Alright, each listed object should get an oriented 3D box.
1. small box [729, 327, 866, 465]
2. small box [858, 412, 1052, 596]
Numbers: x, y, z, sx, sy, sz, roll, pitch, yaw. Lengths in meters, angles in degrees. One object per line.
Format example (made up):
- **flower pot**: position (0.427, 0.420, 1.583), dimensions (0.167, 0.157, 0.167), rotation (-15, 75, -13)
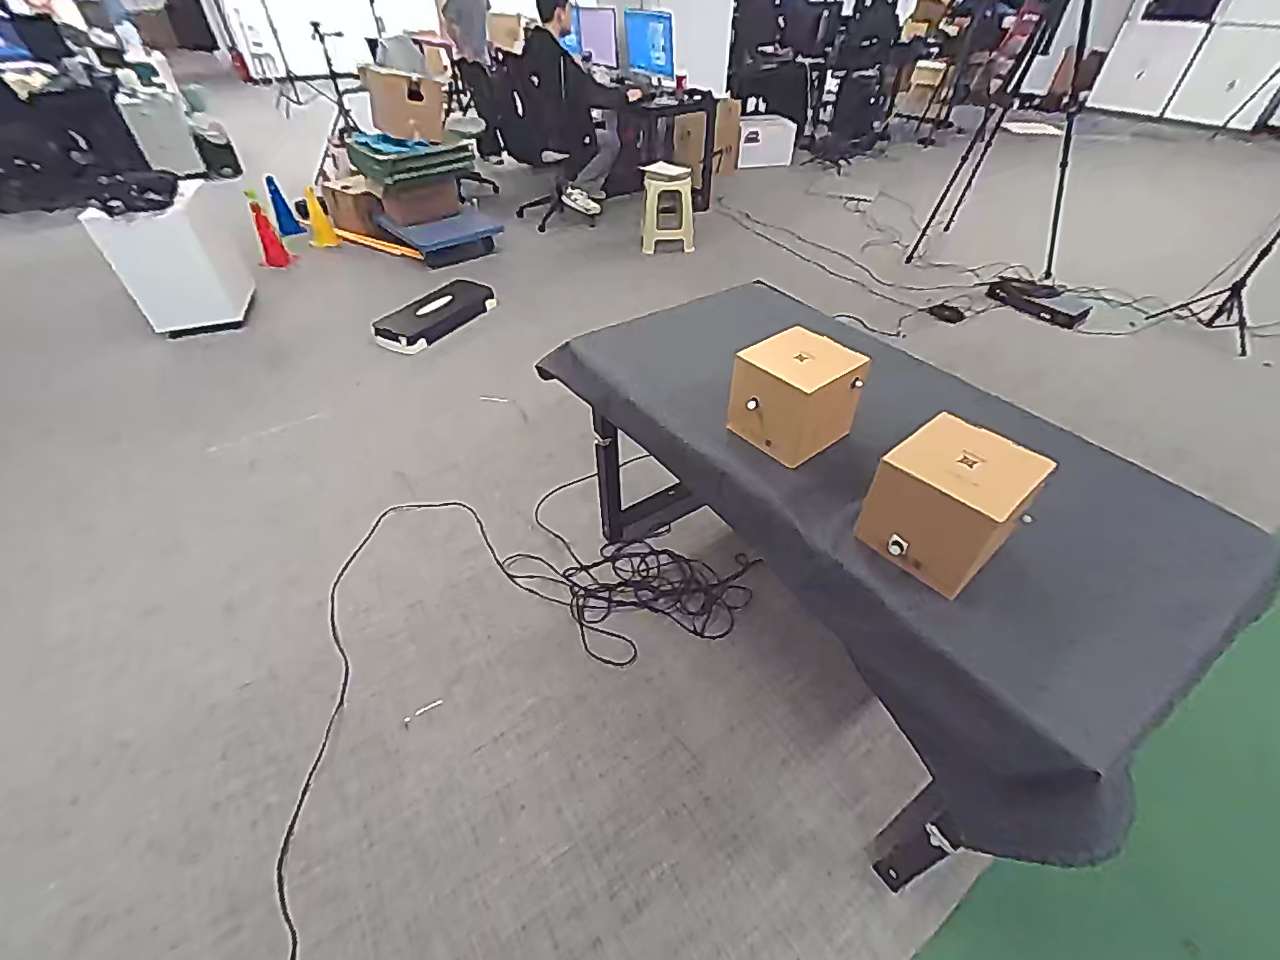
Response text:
- **small box**: position (0.282, -0.156, 1.003), dimensions (0.179, 0.176, 0.168), rotation (-29, 50, -29)
- **small box**: position (0.451, 0.034, 0.800), dimensions (0.179, 0.176, 0.168), rotation (-31, 50, -29)
